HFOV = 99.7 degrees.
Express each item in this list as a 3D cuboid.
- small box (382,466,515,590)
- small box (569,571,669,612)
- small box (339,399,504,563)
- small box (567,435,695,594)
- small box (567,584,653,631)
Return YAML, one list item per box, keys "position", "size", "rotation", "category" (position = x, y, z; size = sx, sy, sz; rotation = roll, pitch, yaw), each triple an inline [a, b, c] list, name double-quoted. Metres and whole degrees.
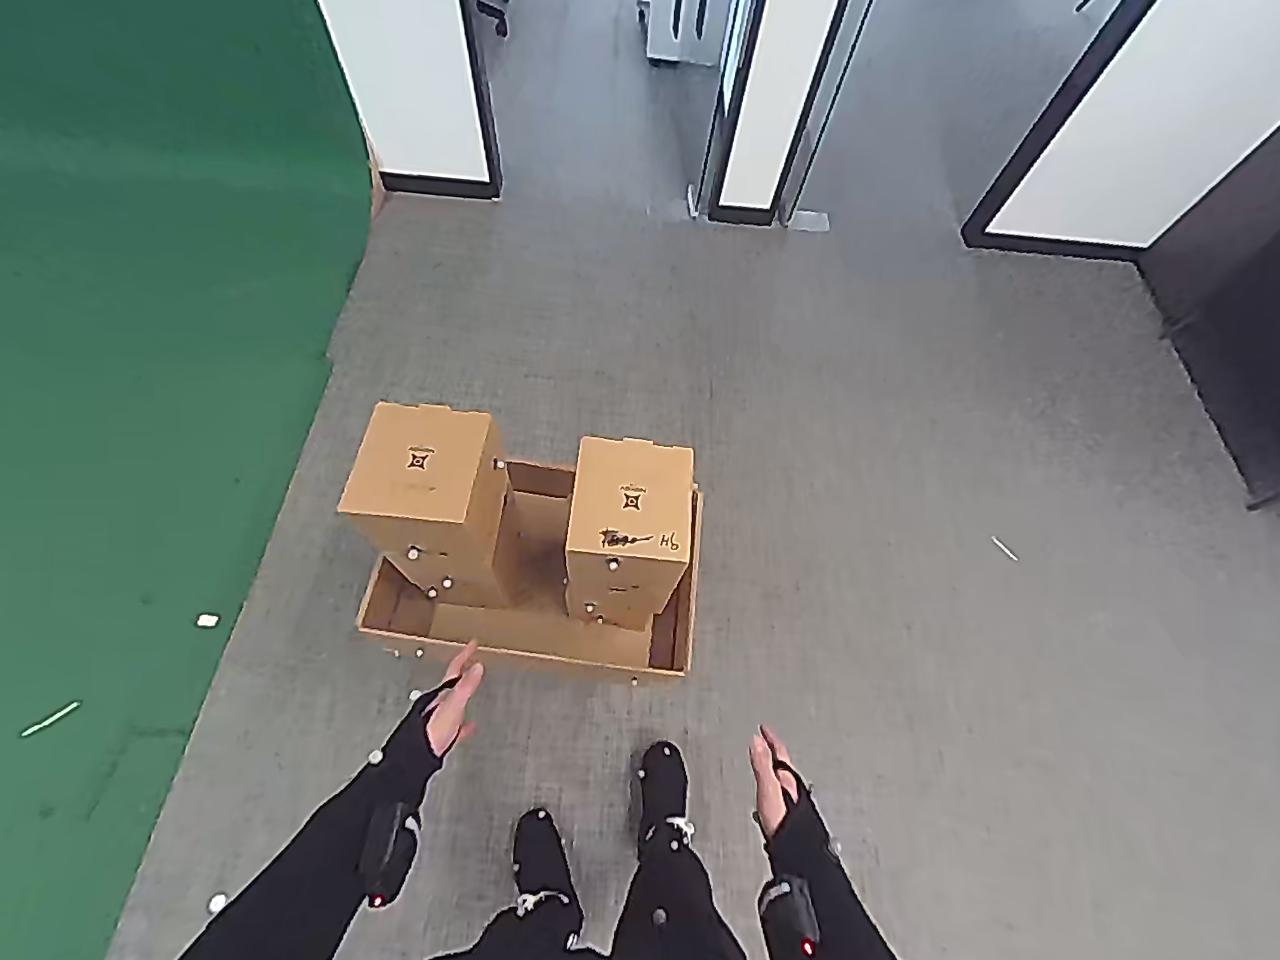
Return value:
- position: [-0.322, 0.080, 0.951]
  size: [0.168, 0.176, 0.179]
  rotation: [6, 62, -2]
  category: "small box"
- position: [-0.030, 0.127, 0.959]
  size: [0.168, 0.176, 0.179]
  rotation: [6, 62, -3]
  category: "small box"
- position: [-0.306, 0.007, 0.806]
  size: [0.168, 0.176, 0.179]
  rotation: [7, 62, -1]
  category: "small box"
- position: [-0.016, 0.057, 0.811]
  size: [0.168, 0.176, 0.179]
  rotation: [7, 63, -3]
  category: "small box"
- position: [-0.052, 0.195, 1.107]
  size: [0.168, 0.176, 0.179]
  rotation: [10, 63, -1]
  category: "small box"
